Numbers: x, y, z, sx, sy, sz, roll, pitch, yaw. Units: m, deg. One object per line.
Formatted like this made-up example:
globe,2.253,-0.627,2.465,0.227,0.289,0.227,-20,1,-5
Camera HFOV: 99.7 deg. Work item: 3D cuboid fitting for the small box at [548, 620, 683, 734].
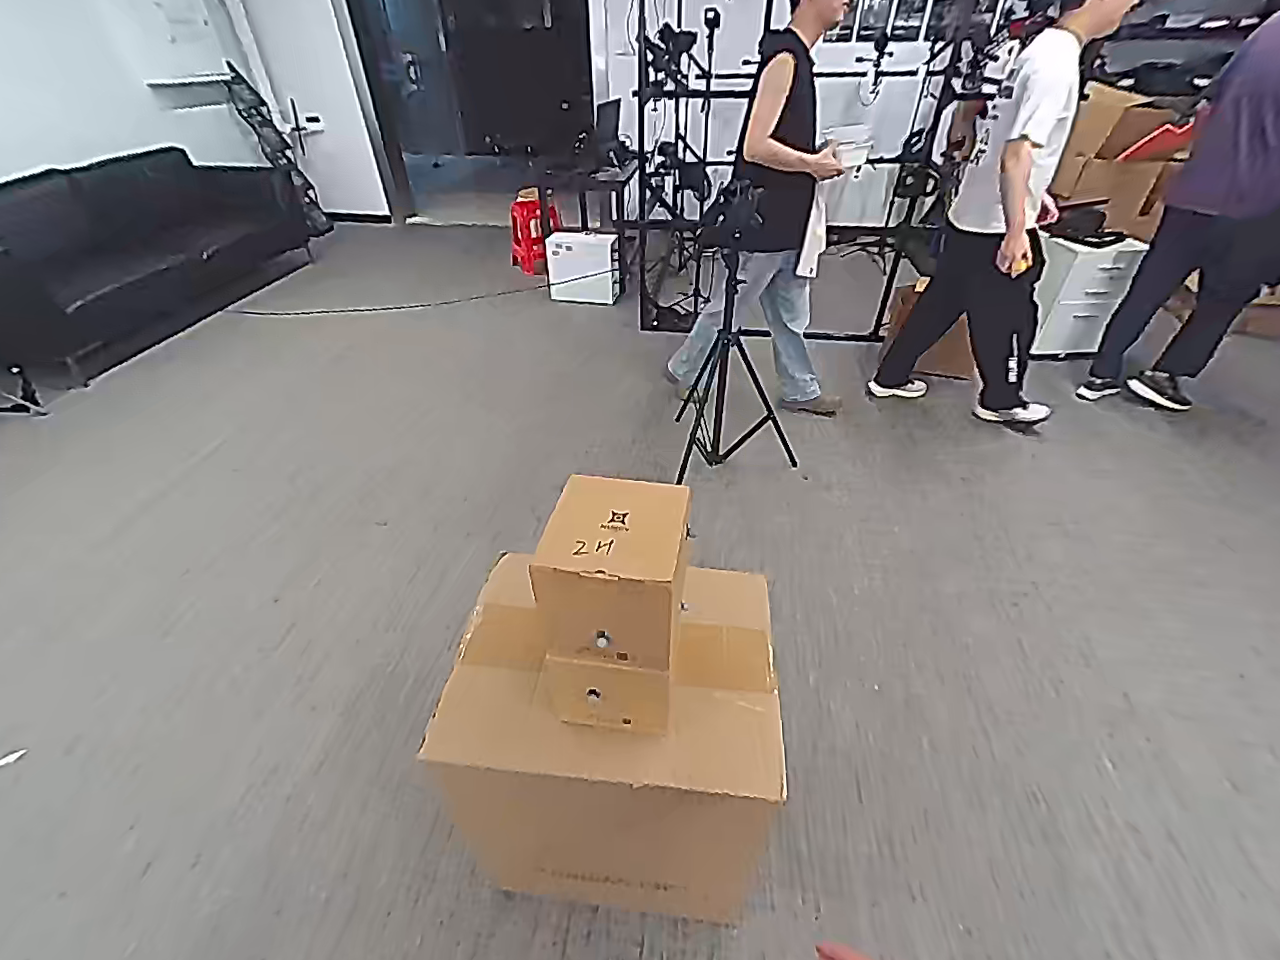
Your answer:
small box,-0.025,0.249,0.803,0.168,0.176,0.179,5,38,7

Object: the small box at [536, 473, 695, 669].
small box,-0.022,0.114,0.707,0.168,0.176,0.179,6,38,9
